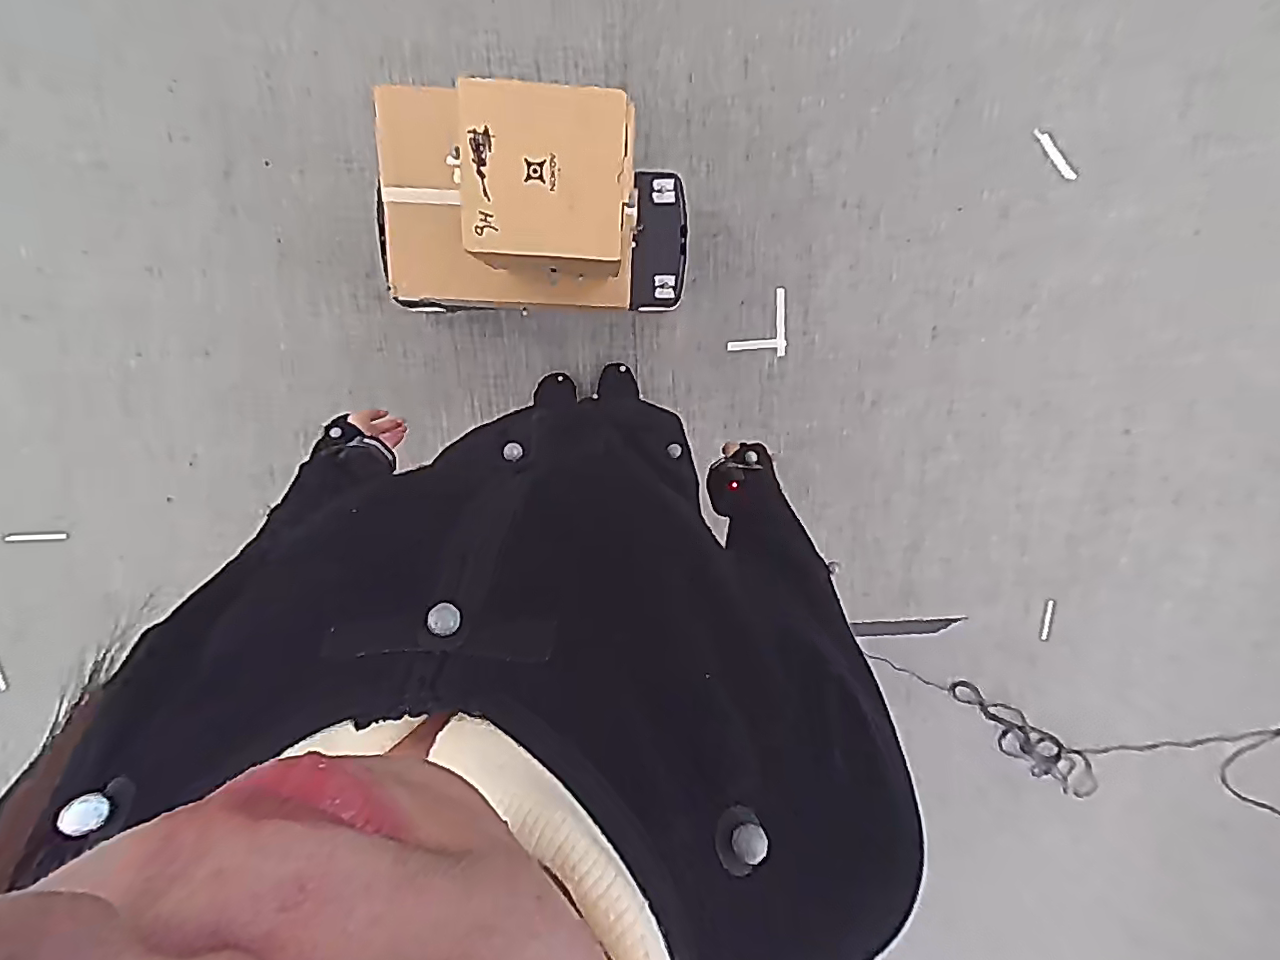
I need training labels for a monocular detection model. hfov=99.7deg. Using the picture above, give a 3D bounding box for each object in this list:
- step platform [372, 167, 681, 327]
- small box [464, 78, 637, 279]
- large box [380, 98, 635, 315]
[{"bbox_3d":[-0.246,-0.526,1.252,0.684,0.204,0.286,4,104,-3],"label":"step platform"},{"bbox_3d":[-0.101,-0.338,0.641,0.179,0.176,0.168,2,104,-5],"label":"small box"},{"bbox_3d":[-0.212,-0.478,1.021,0.408,0.320,0.320,1,104,-3],"label":"large box"}]
